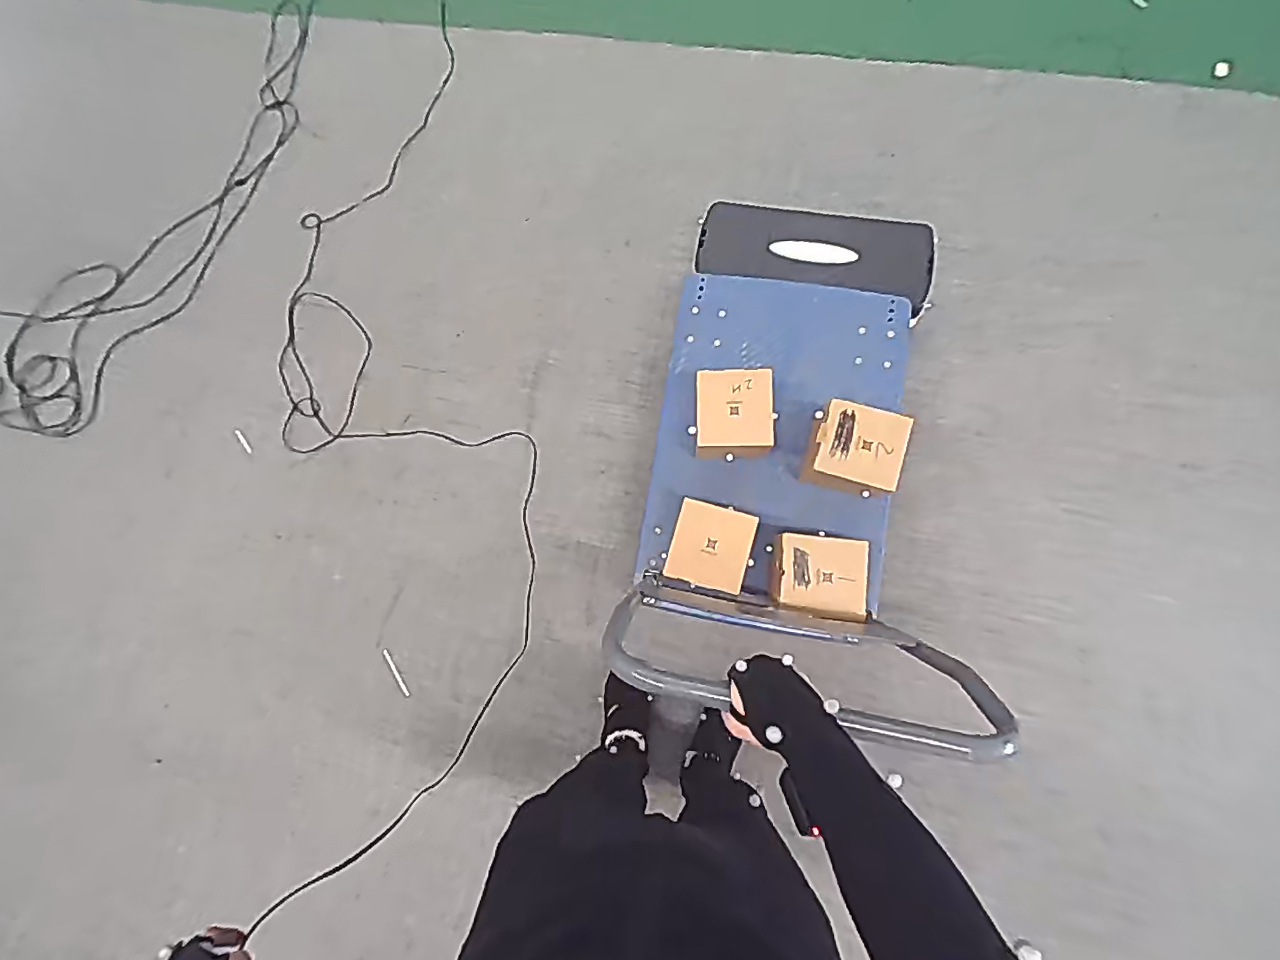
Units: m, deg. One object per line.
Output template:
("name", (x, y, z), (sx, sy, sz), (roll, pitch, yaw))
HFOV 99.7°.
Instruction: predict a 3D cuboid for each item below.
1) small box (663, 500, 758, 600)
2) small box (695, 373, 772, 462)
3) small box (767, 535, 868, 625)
("small box", (0.155, 0.157, 1.221), (0.168, 0.176, 0.179), (16, 84, 7))
("small box", (0.214, -0.139, 1.262), (0.168, 0.176, 0.179), (1, 81, 4))
("small box", (0.382, 0.217, 1.189), (0.179, 0.176, 0.168), (6, 82, 6))
